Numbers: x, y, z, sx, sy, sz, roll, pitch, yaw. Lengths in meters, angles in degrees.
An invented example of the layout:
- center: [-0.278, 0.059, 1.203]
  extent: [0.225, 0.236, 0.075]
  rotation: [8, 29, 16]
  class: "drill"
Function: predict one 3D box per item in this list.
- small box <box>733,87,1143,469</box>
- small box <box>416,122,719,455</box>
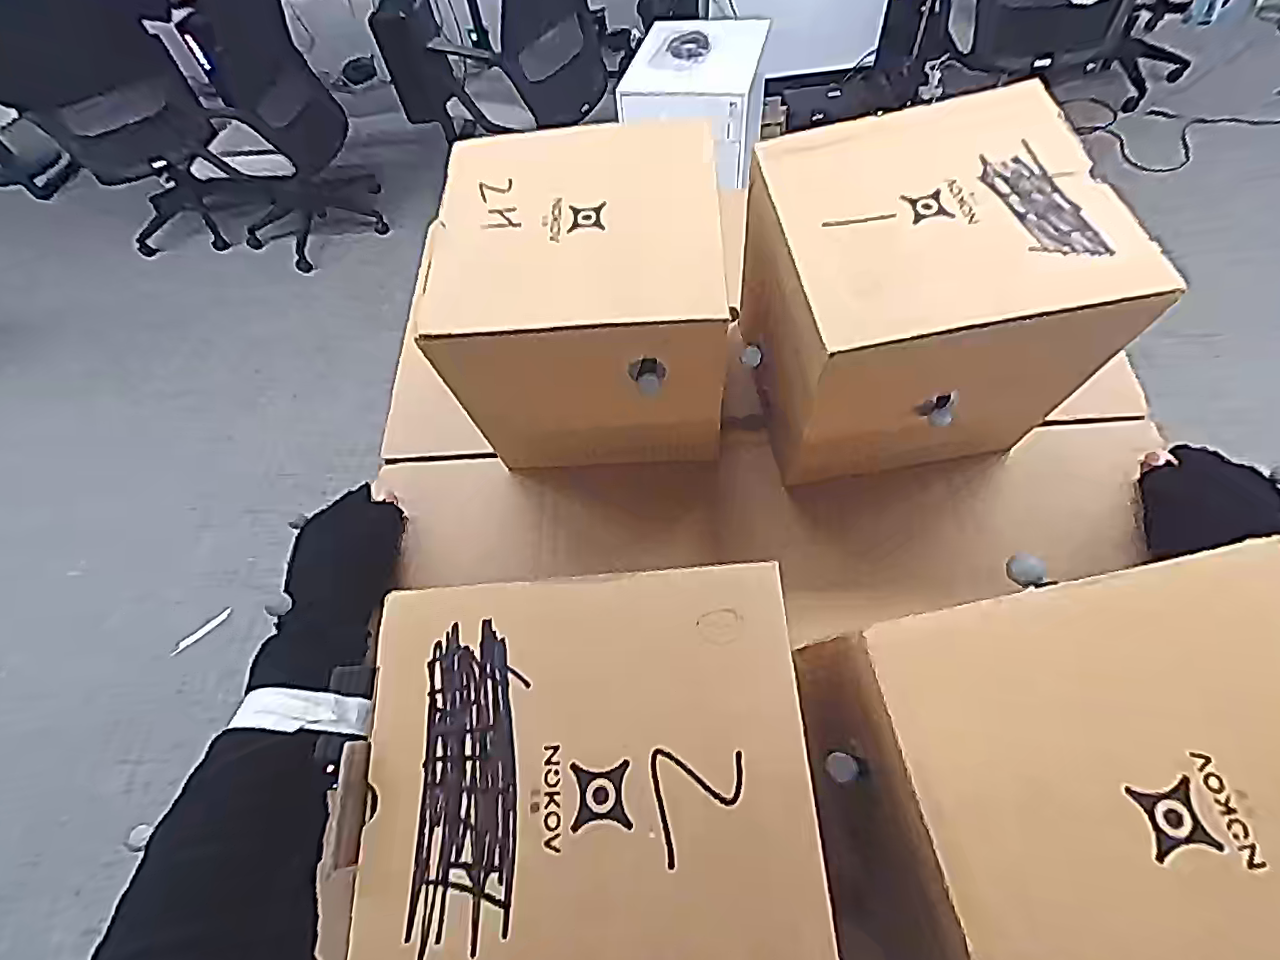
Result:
- center: [0.169, -0.124, 0.381]
  extent: [0.179, 0.176, 0.168]
  rotation: [-10, 65, 3]
  class: "small box"
- center: [-0.034, -0.128, 0.407]
  extent: [0.179, 0.176, 0.168]
  rotation: [-2, 65, 6]
  class: "small box"
